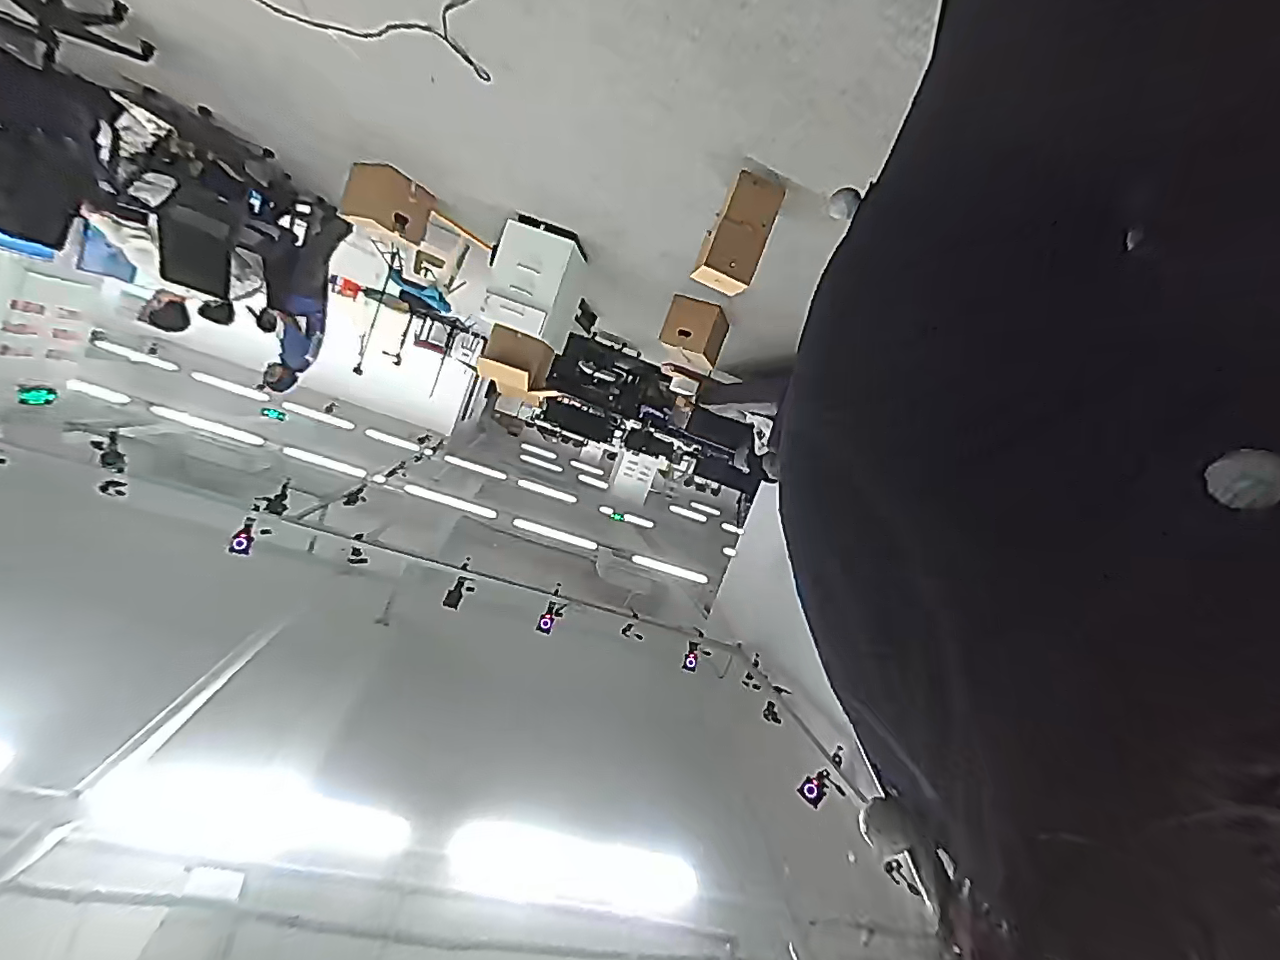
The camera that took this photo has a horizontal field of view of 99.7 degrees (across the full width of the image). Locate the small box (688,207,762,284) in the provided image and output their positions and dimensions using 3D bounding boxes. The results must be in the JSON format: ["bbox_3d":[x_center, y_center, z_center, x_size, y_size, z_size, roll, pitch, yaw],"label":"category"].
[{"bbox_3d":[0.288,-0.792,1.833,0.179,0.176,0.168,20,-176,-13],"label":"small box"}]
